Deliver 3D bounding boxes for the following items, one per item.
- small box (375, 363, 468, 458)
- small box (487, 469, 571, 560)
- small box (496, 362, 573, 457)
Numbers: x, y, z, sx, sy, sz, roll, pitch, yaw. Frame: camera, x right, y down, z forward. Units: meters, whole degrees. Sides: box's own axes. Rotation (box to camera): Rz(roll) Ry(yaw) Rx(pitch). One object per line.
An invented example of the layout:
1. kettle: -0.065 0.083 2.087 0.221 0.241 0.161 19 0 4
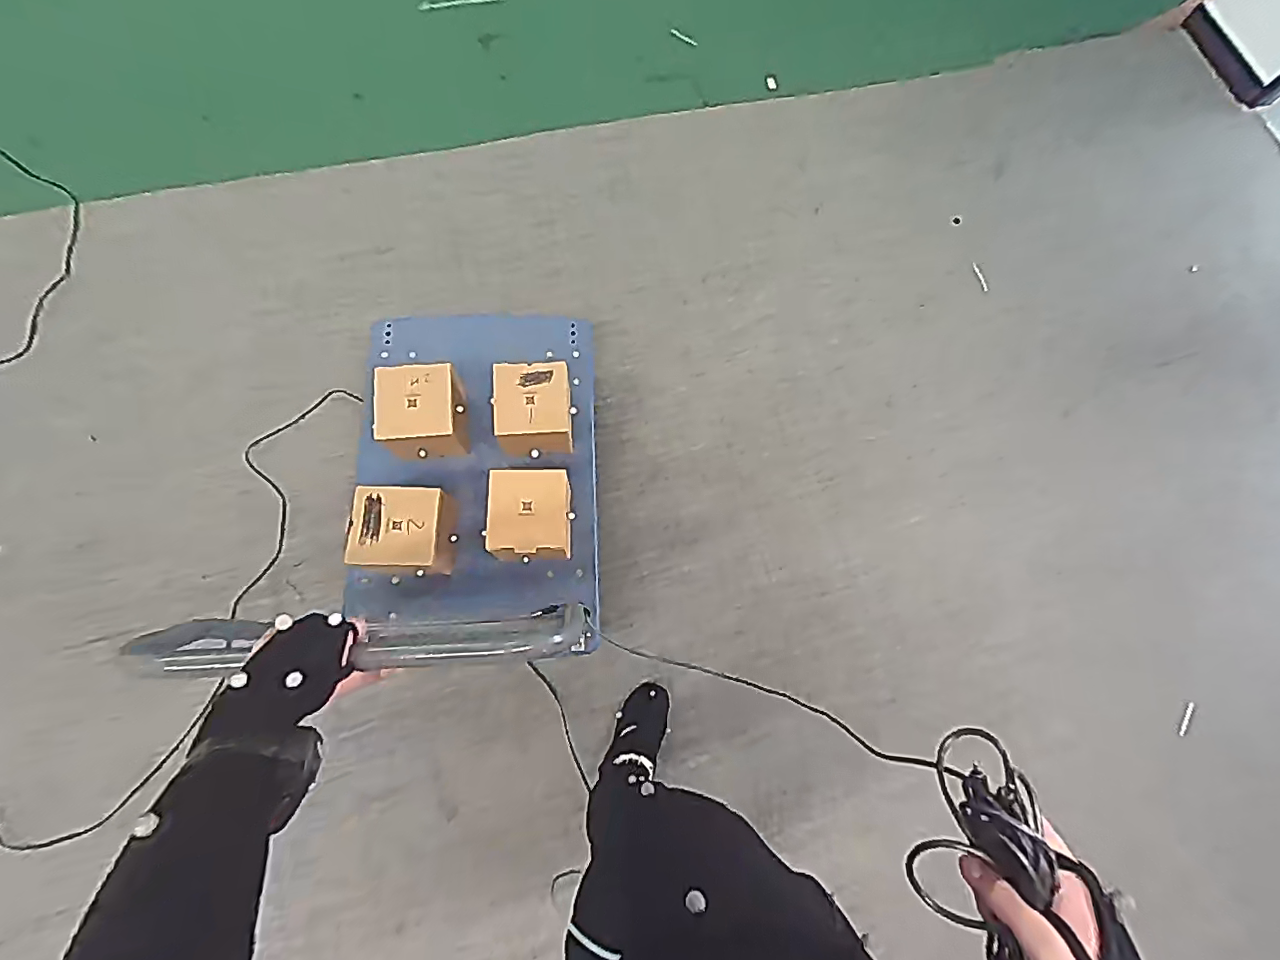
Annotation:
1. small box: -0.501 -0.154 1.262 0.168 0.176 0.179 -4 75 -7
2. small box: -0.243 0.082 1.219 0.168 0.176 0.179 0 75 -5
3. small box: -0.246 -0.164 1.285 0.168 0.176 0.179 -3 76 -5
